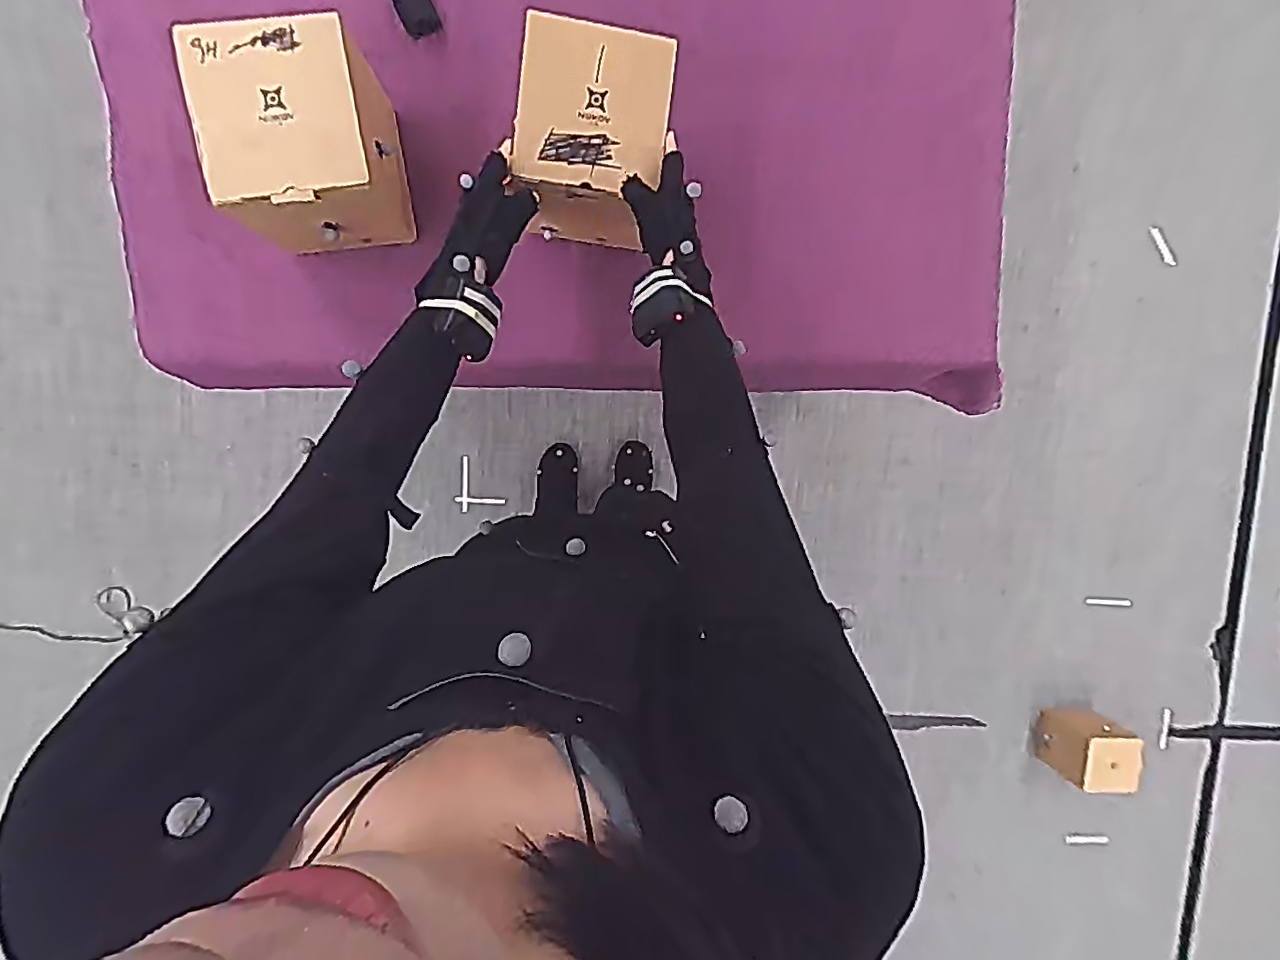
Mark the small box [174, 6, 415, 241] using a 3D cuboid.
[{"bbox_3d":[-0.382,-0.396,0.634,0.168,0.176,0.179,-9,97,-6],"label":"small box"}]

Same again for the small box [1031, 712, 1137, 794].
[{"bbox_3d":[1.352,0.828,1.653,0.179,0.176,0.168,4,94,-5],"label":"small box"}]

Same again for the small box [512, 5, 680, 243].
[{"bbox_3d":[-0.054,-0.415,0.666,0.168,0.176,0.179,7,93,-7],"label":"small box"}]
